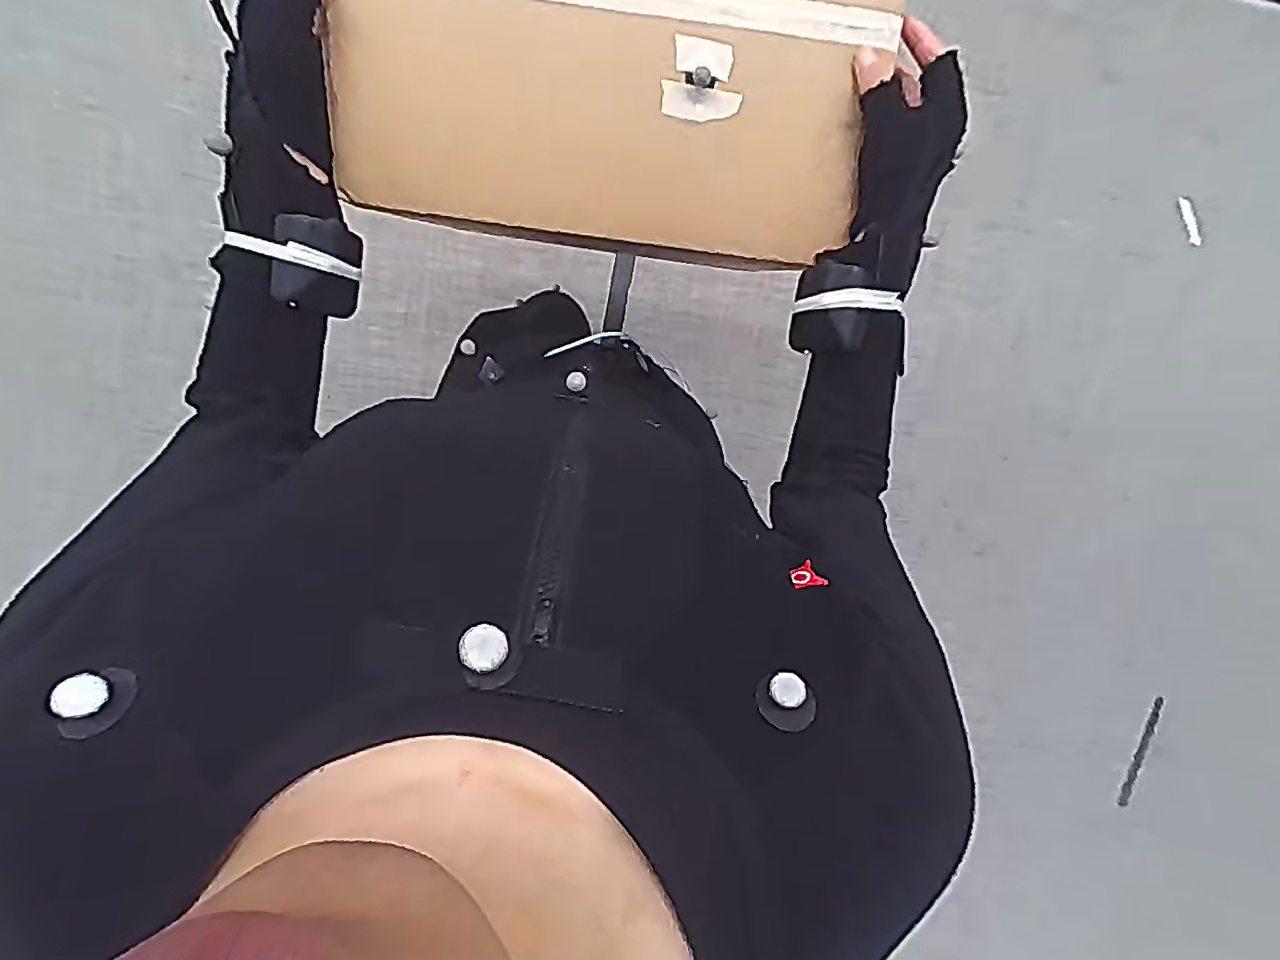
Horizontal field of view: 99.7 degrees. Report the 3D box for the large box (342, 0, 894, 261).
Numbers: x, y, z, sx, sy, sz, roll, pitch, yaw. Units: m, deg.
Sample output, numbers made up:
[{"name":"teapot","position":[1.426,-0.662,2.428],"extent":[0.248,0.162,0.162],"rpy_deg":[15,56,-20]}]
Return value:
[{"name":"large box","position":[-0.018,-0.403,0.529],"extent":[0.408,0.320,0.320],"rpy_deg":[6,112,-4]}]
